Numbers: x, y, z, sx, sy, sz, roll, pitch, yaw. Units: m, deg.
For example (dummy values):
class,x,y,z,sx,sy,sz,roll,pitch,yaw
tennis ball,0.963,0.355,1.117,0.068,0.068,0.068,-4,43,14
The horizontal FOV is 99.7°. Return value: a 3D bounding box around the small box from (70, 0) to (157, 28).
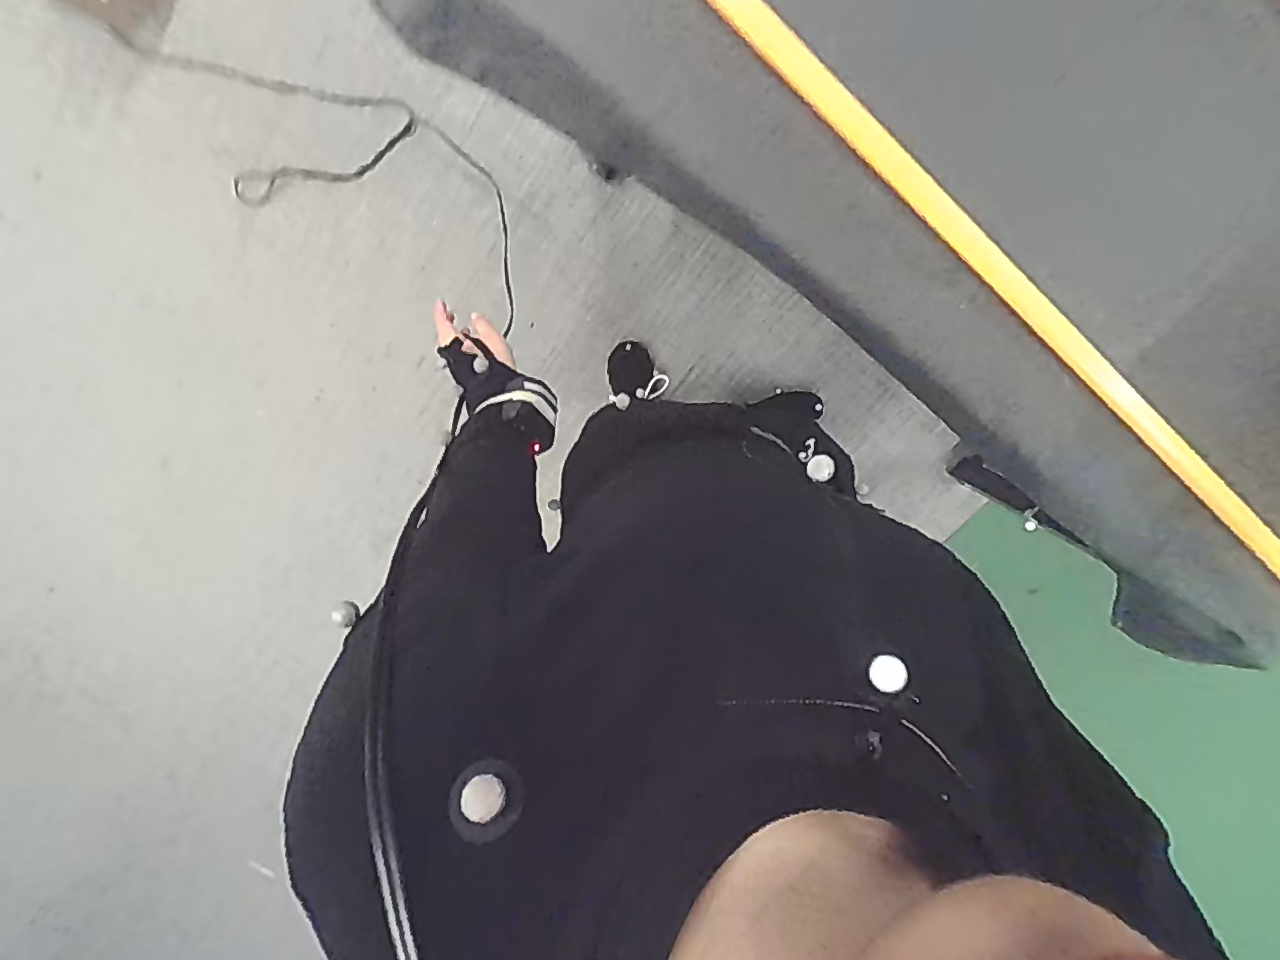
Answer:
class,x,y,z,sx,sy,sz,roll,pitch,yaw
small box,-1.089,-1.049,1.055,0.179,0.176,0.168,-28,103,10
